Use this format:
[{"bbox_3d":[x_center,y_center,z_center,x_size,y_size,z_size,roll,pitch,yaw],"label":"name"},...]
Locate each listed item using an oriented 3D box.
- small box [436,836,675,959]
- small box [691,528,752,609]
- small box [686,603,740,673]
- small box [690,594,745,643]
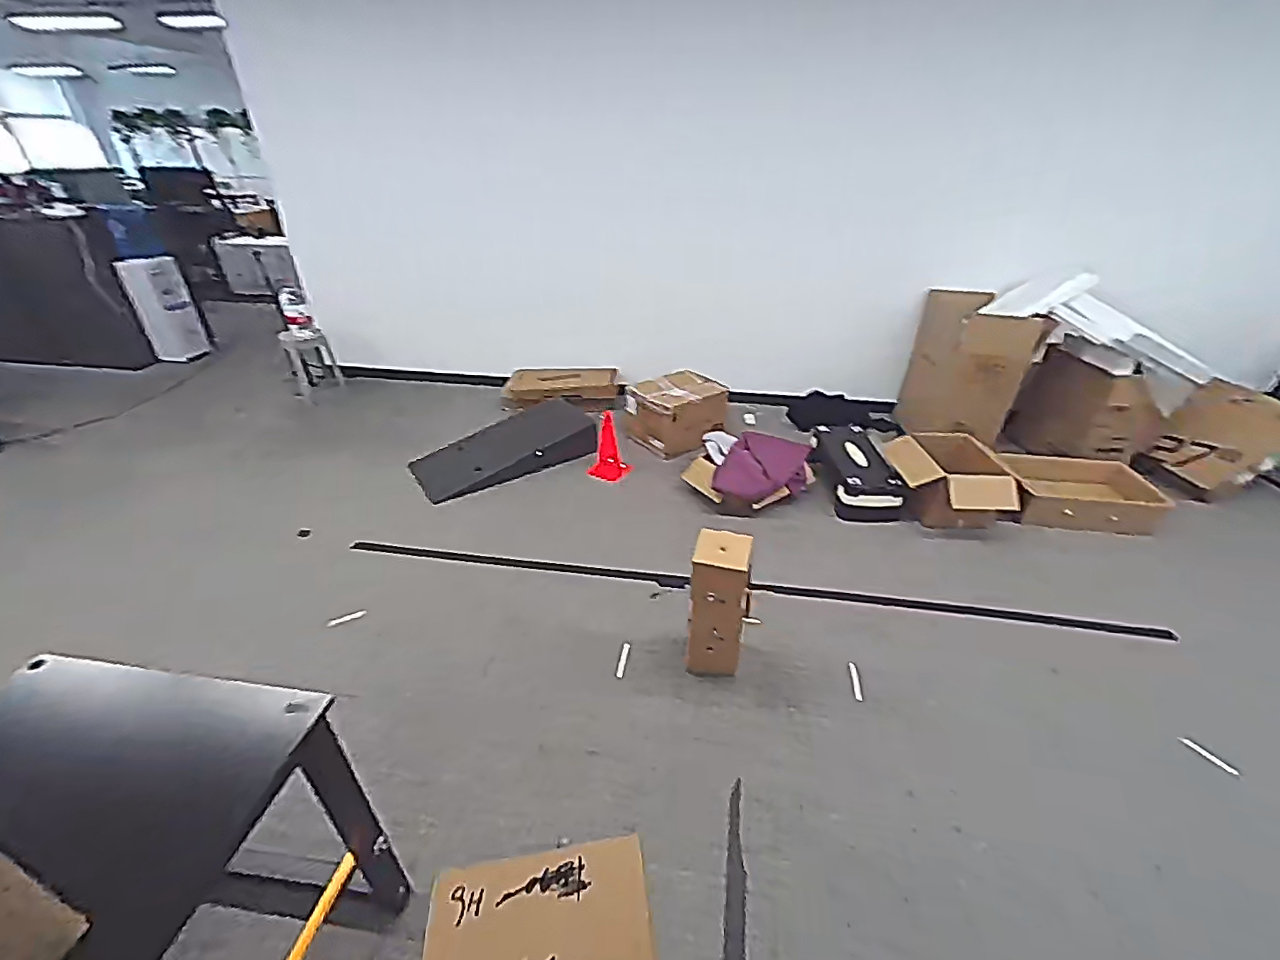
[{"bbox_3d":[-0.052,0.406,0.408,0.168,0.176,0.179,-8,39,-3],"label":"small box"},{"bbox_3d":[0.256,0.278,1.707,0.168,0.176,0.179,8,34,13],"label":"small box"},{"bbox_3d":[0.252,0.552,1.885,0.179,0.176,0.168,4,32,4],"label":"small box"},{"bbox_3d":[0.257,0.412,1.799,0.168,0.176,0.179,5,32,8],"label":"small box"}]
